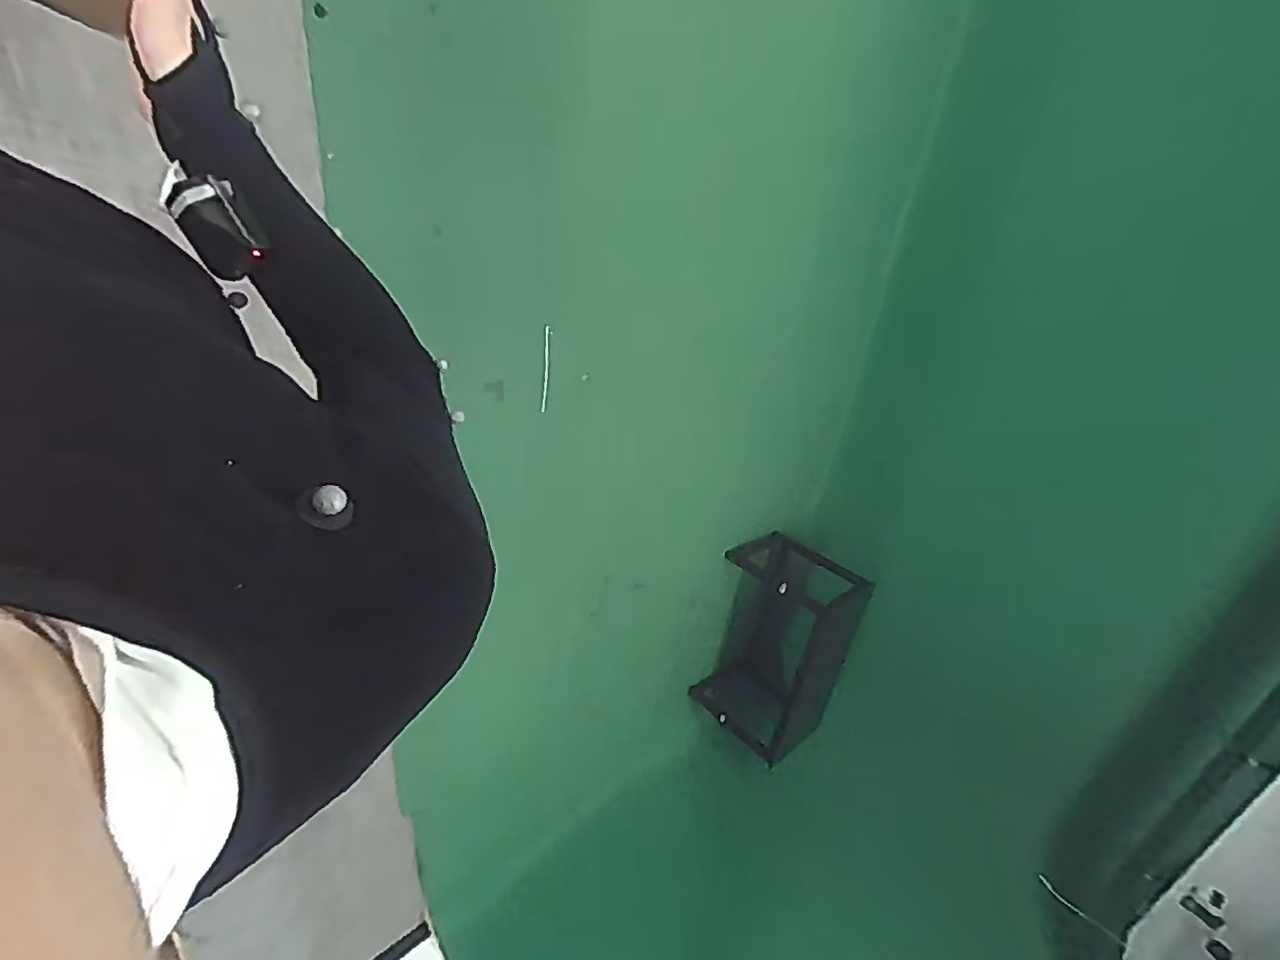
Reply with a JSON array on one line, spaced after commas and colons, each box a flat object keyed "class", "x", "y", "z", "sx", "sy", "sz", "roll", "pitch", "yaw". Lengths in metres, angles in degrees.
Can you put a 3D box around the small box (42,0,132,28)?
[{"class": "small box", "x": -0.436, "y": -0.460, "z": 0.354, "sx": 0.168, "sy": 0.176, "sz": 0.179, "roll": 4, "pitch": 101, "yaw": -47}]
